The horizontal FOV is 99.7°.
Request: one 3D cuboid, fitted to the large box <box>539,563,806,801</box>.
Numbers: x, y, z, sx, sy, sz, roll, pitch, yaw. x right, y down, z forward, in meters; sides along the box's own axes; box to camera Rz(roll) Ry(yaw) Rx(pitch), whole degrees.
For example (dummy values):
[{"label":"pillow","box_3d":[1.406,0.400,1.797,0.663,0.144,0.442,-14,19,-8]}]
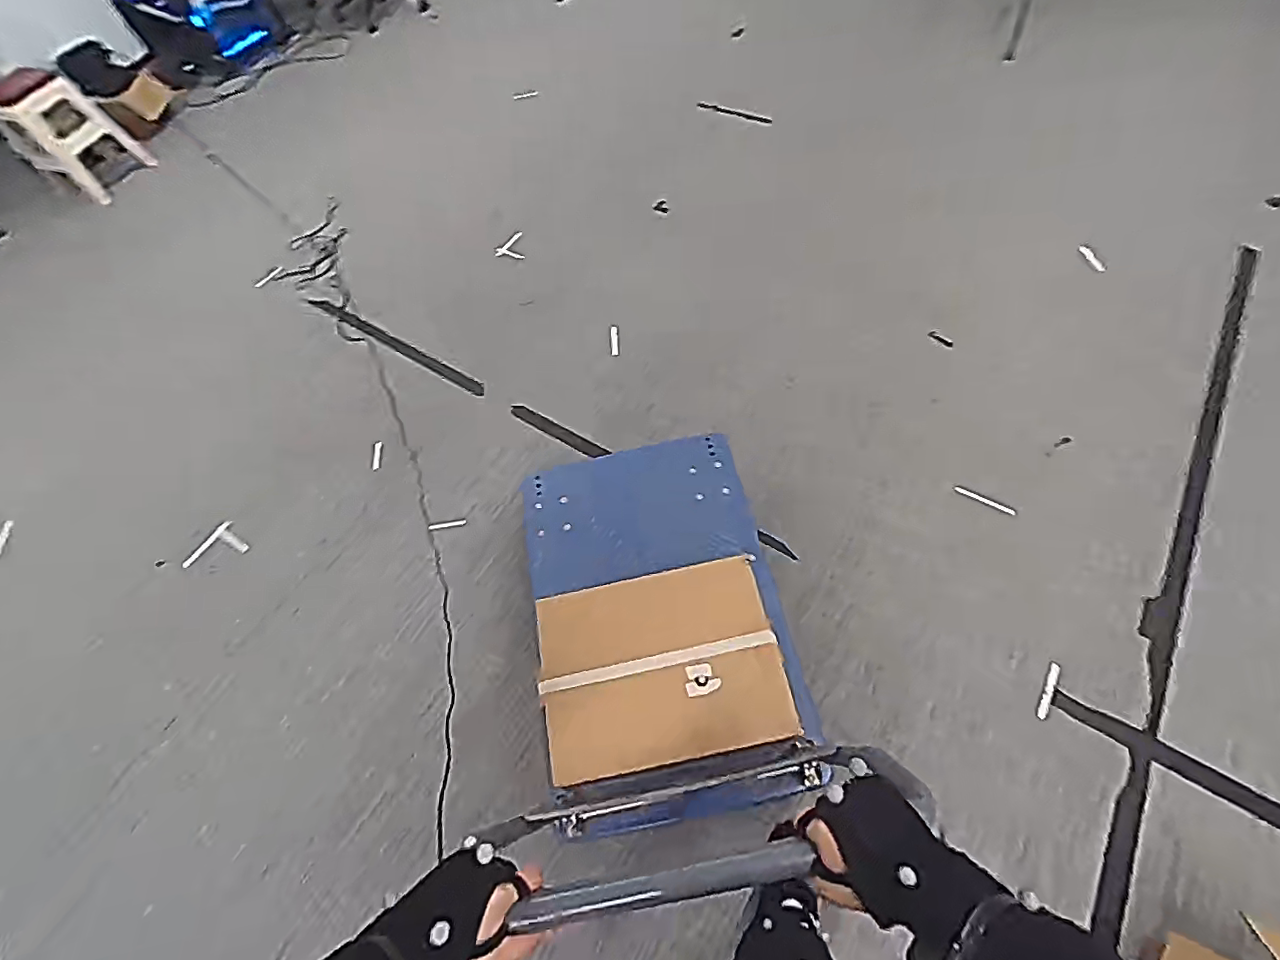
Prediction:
[{"label":"large box","box_3d":[0.052,0.396,1.033,0.408,0.320,0.320,-12,60,0]}]
